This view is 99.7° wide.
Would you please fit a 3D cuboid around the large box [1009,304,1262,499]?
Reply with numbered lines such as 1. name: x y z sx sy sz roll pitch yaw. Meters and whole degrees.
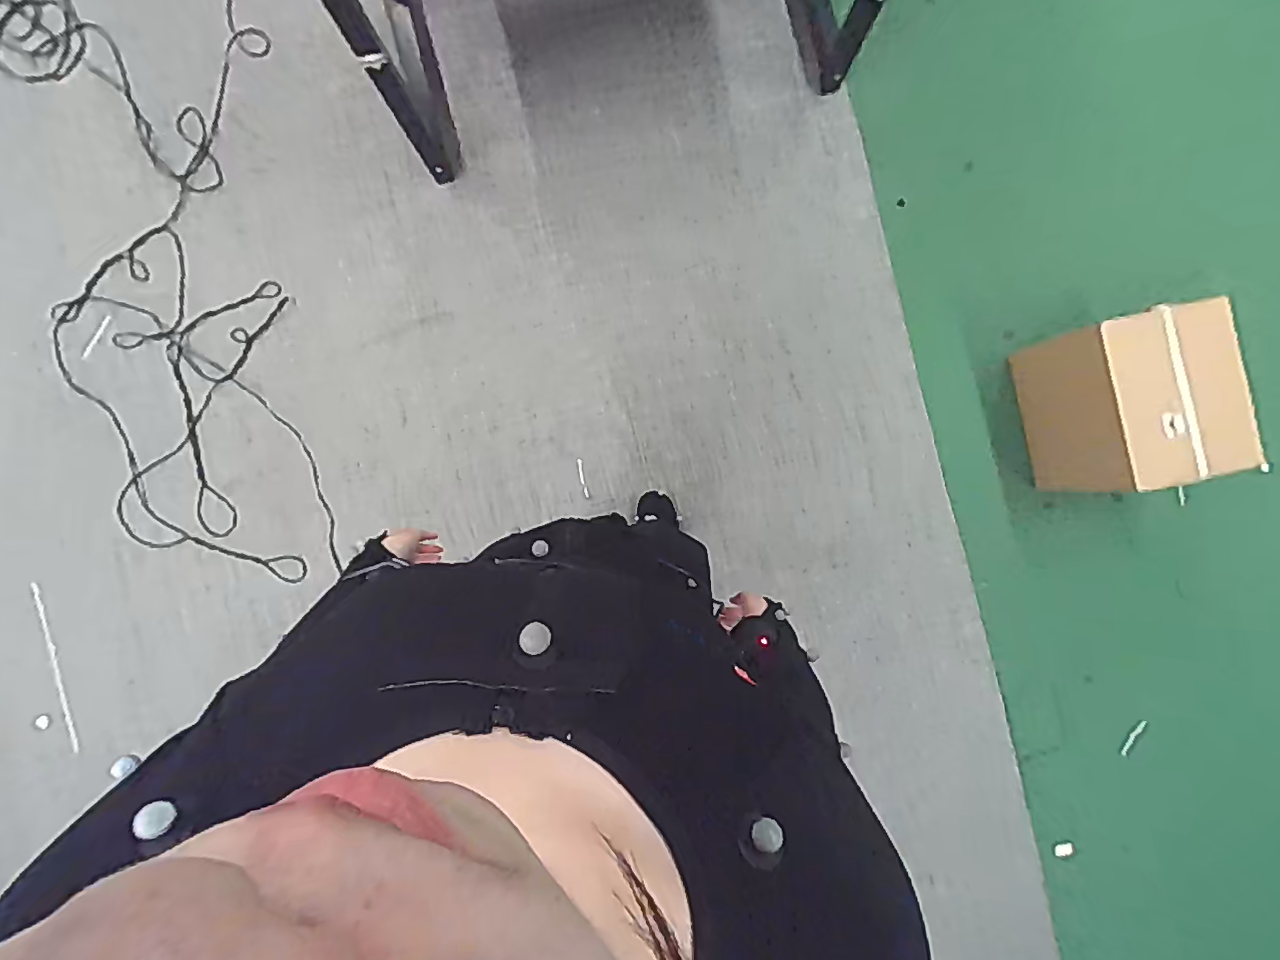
1. large box: 1.231 -0.181 1.382 0.320 0.320 0.408 -12 90 -1
